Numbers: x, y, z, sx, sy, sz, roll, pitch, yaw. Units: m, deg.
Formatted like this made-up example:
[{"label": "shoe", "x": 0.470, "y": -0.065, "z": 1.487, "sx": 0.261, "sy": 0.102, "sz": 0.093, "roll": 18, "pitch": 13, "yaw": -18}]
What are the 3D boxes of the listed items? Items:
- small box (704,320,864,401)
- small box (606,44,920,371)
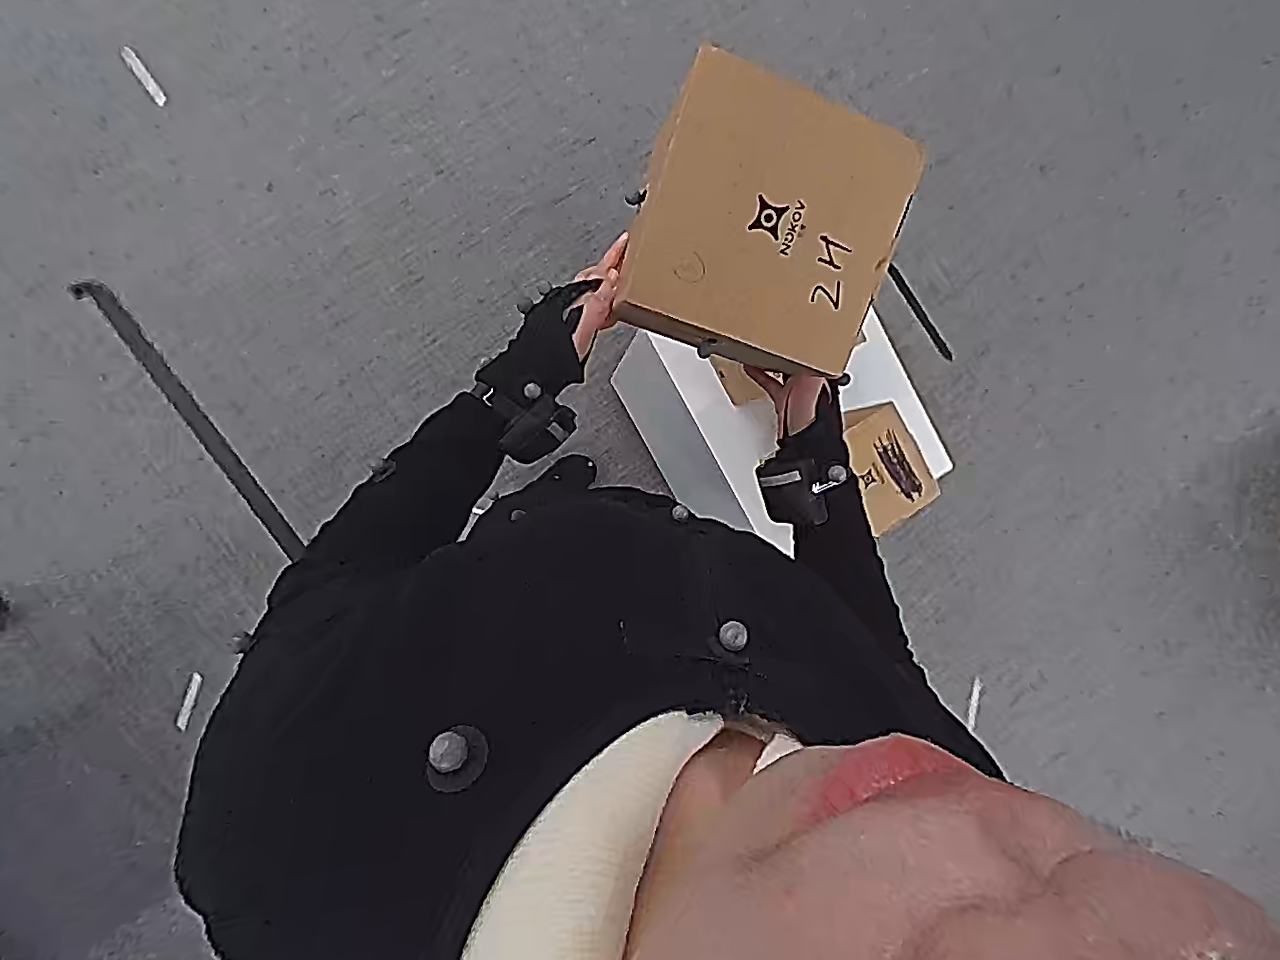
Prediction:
[{"label": "small box", "x": 0.212, "y": -0.243, "z": 0.868, "sx": 0.179, "sy": 0.176, "sz": 0.168, "roll": -29, "pitch": 95, "yaw": -9}, {"label": "small box", "x": 0.077, "y": -0.195, "z": 0.446, "sx": 0.179, "sy": 0.176, "sz": 0.168, "roll": 15, "pitch": 102, "yaw": -12}]
